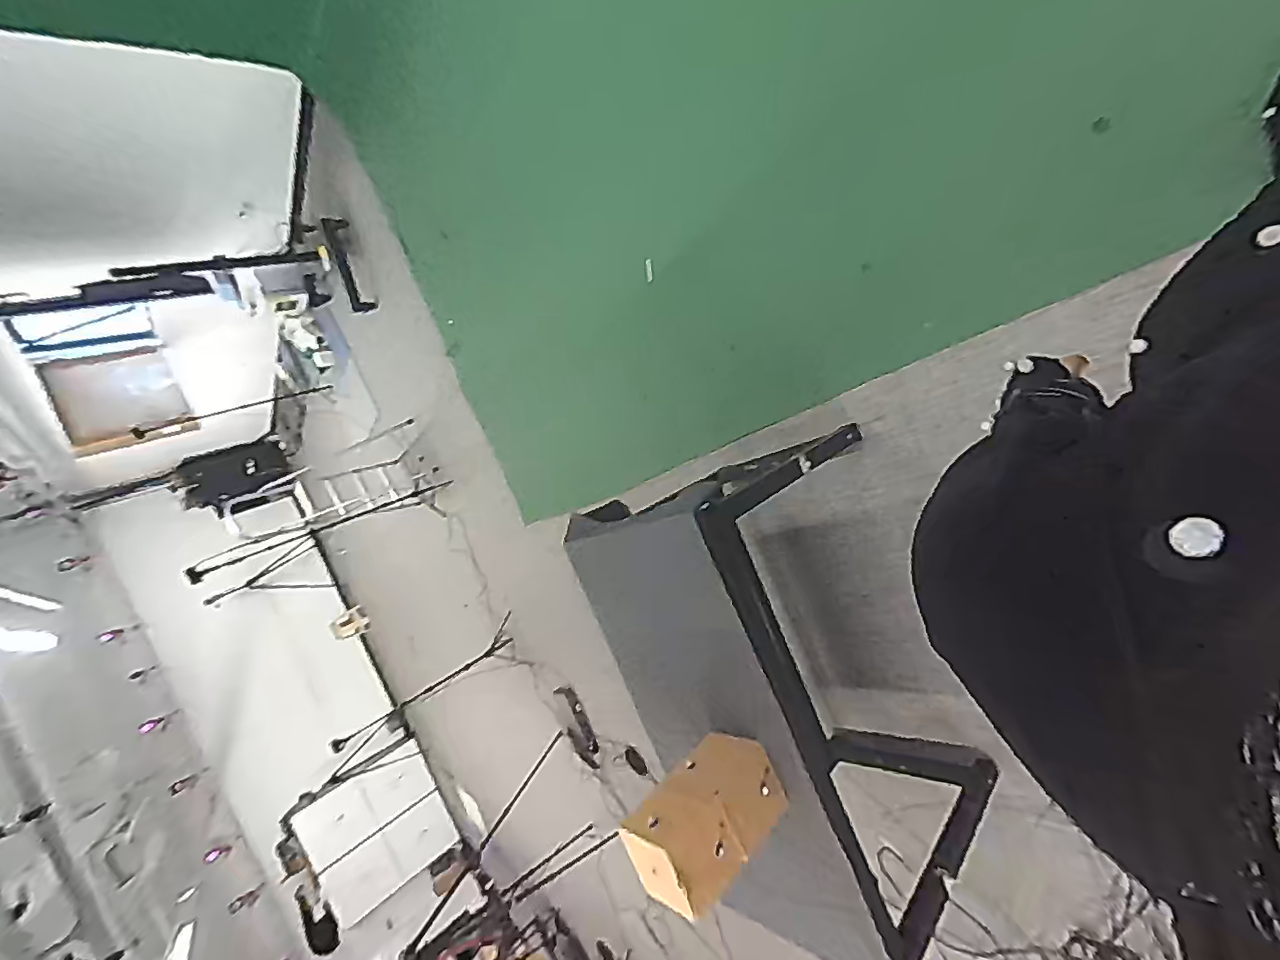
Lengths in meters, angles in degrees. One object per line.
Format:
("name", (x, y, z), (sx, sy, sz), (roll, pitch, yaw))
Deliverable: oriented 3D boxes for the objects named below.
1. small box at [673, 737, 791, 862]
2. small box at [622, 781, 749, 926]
("small box", (0.214, 0.725, 1.253), (0.179, 0.176, 0.168), (-23, 92, 52))
("small box", (0.098, 0.779, 1.154), (0.179, 0.176, 0.168), (-23, 91, 52))
